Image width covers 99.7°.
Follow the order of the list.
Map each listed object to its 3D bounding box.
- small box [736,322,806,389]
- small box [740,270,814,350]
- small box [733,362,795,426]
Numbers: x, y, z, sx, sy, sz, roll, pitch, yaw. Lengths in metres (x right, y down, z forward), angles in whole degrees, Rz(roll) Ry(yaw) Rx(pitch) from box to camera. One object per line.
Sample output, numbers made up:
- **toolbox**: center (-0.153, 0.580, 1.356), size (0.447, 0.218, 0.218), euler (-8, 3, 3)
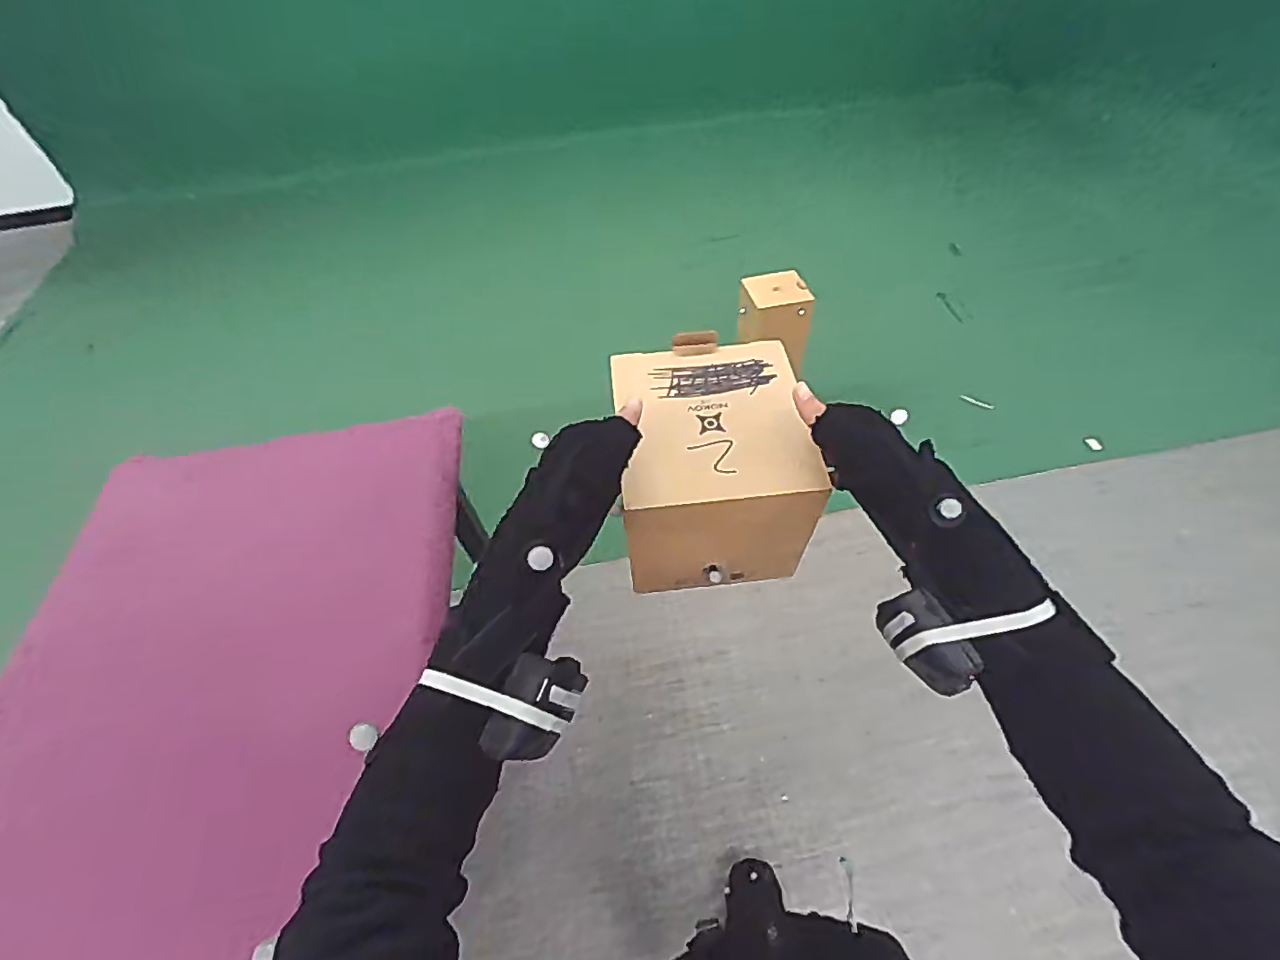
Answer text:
- **small box**: center (0.431, -0.427, 1.811), size (0.179, 0.176, 0.168), euler (-9, 50, -3)
- **small box**: center (0.417, -0.525, 1.685), size (0.179, 0.176, 0.168), euler (-11, 52, -5)
- **small box**: center (0.437, -0.321, 1.940), size (0.168, 0.176, 0.179), euler (-11, 52, -3)
